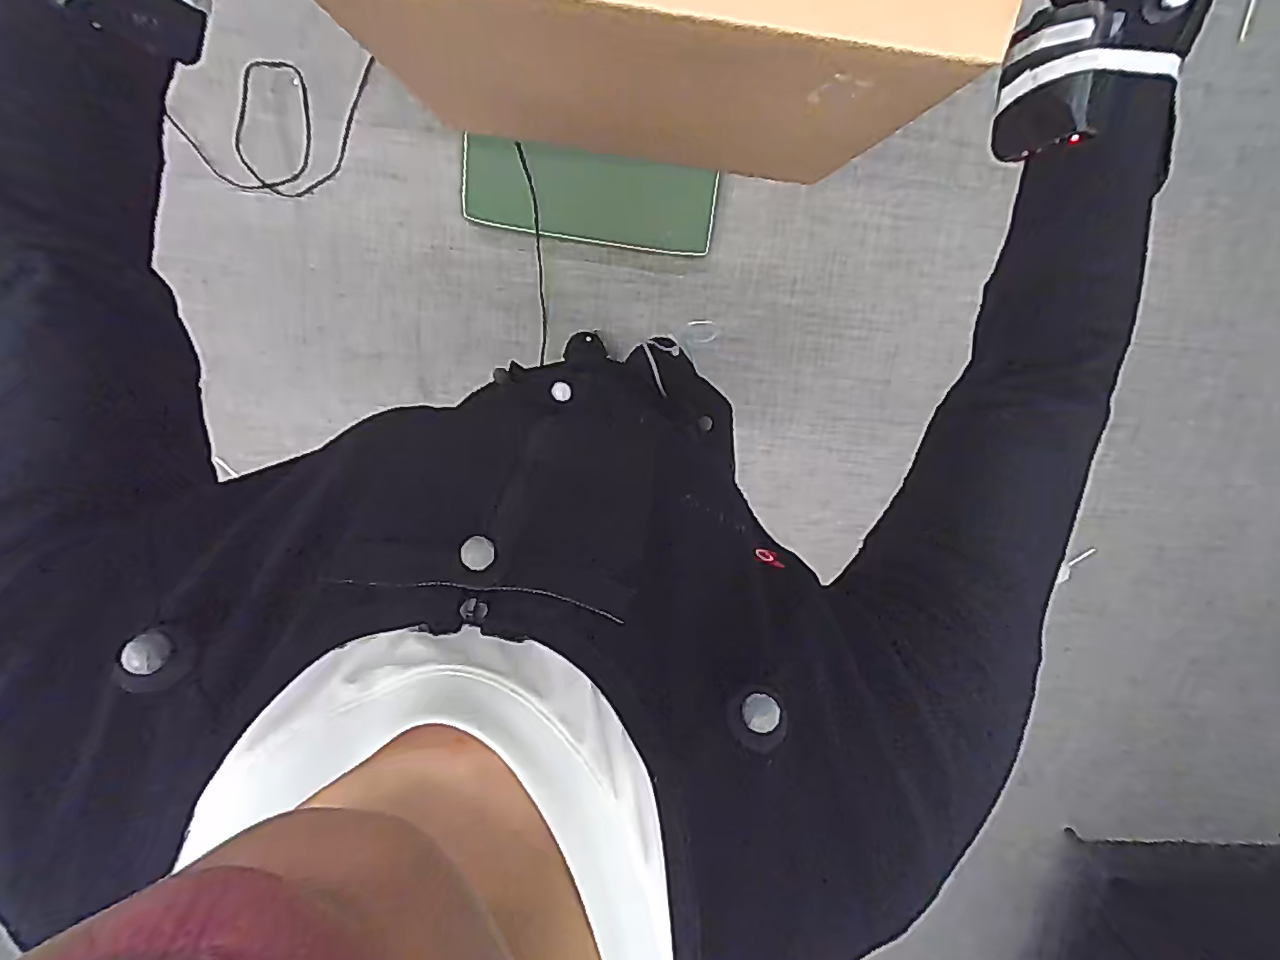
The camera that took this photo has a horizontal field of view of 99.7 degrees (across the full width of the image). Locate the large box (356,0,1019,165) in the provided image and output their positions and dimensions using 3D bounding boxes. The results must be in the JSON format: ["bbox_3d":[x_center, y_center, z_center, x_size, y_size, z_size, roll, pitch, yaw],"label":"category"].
[{"bbox_3d":[0.021,-0.456,0.389,0.408,0.320,0.320,6,108,-4],"label":"large box"}]
